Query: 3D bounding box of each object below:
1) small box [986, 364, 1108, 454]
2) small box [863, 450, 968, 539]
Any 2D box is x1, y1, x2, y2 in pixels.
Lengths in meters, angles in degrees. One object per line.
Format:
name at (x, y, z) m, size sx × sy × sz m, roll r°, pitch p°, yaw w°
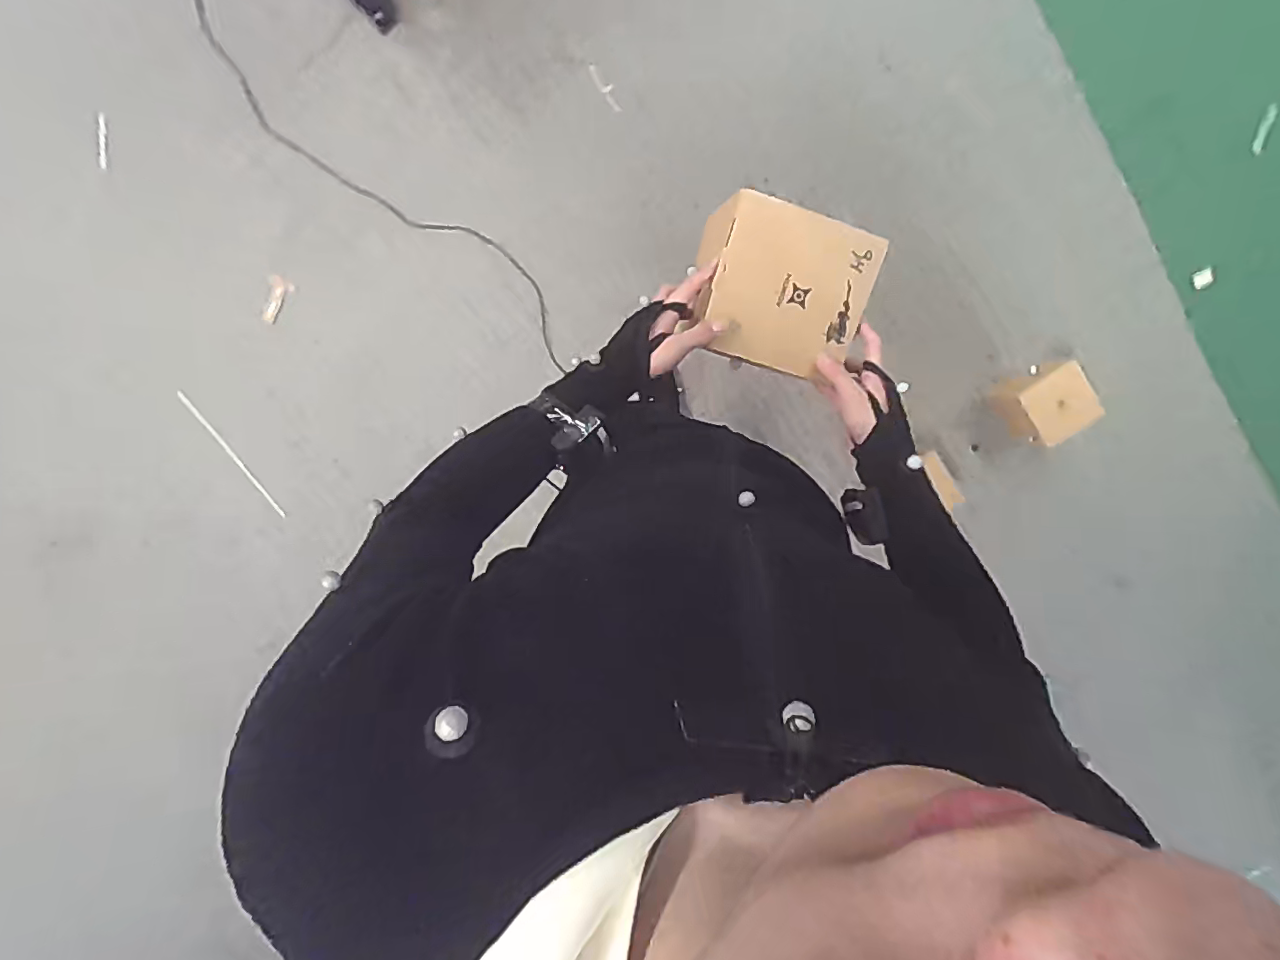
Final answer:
small box at (1.088, -0.194, 1.461) m, size 0.168 × 0.176 × 0.179 m, roll -35°, pitch 99°, yaw 7°
small box at (0.763, 0.033, 1.516) m, size 0.168 × 0.176 × 0.179 m, roll -35°, pitch 98°, yaw 7°
